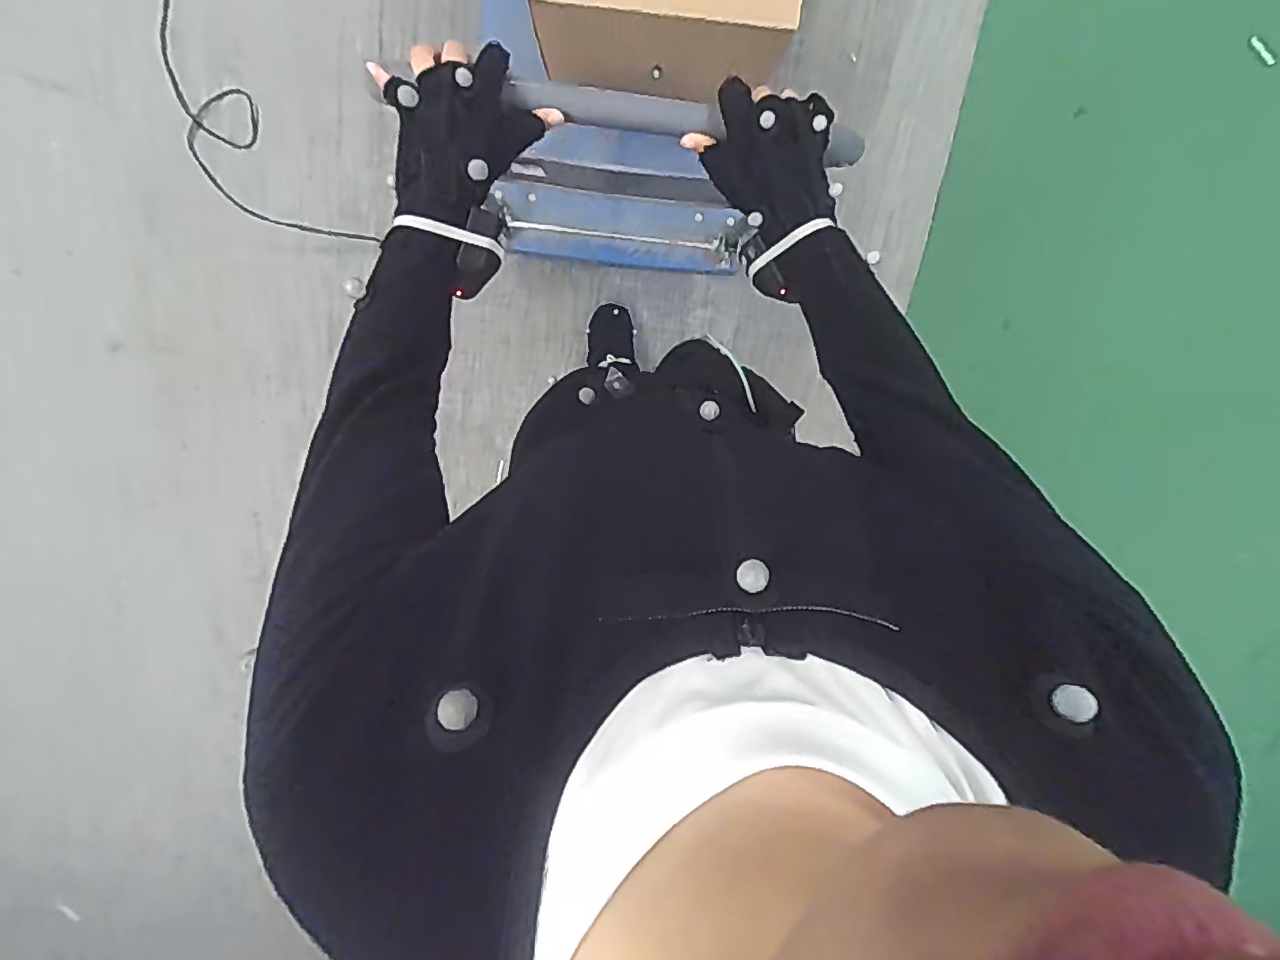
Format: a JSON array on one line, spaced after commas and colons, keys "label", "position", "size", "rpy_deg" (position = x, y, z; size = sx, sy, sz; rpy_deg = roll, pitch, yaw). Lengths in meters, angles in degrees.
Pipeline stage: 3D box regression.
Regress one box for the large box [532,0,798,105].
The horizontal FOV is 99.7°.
[{"label": "large box", "position": [0.045, -0.878, 0.915], "size": [0.408, 0.320, 0.320], "rpy_deg": [4, 105, -2]}]
